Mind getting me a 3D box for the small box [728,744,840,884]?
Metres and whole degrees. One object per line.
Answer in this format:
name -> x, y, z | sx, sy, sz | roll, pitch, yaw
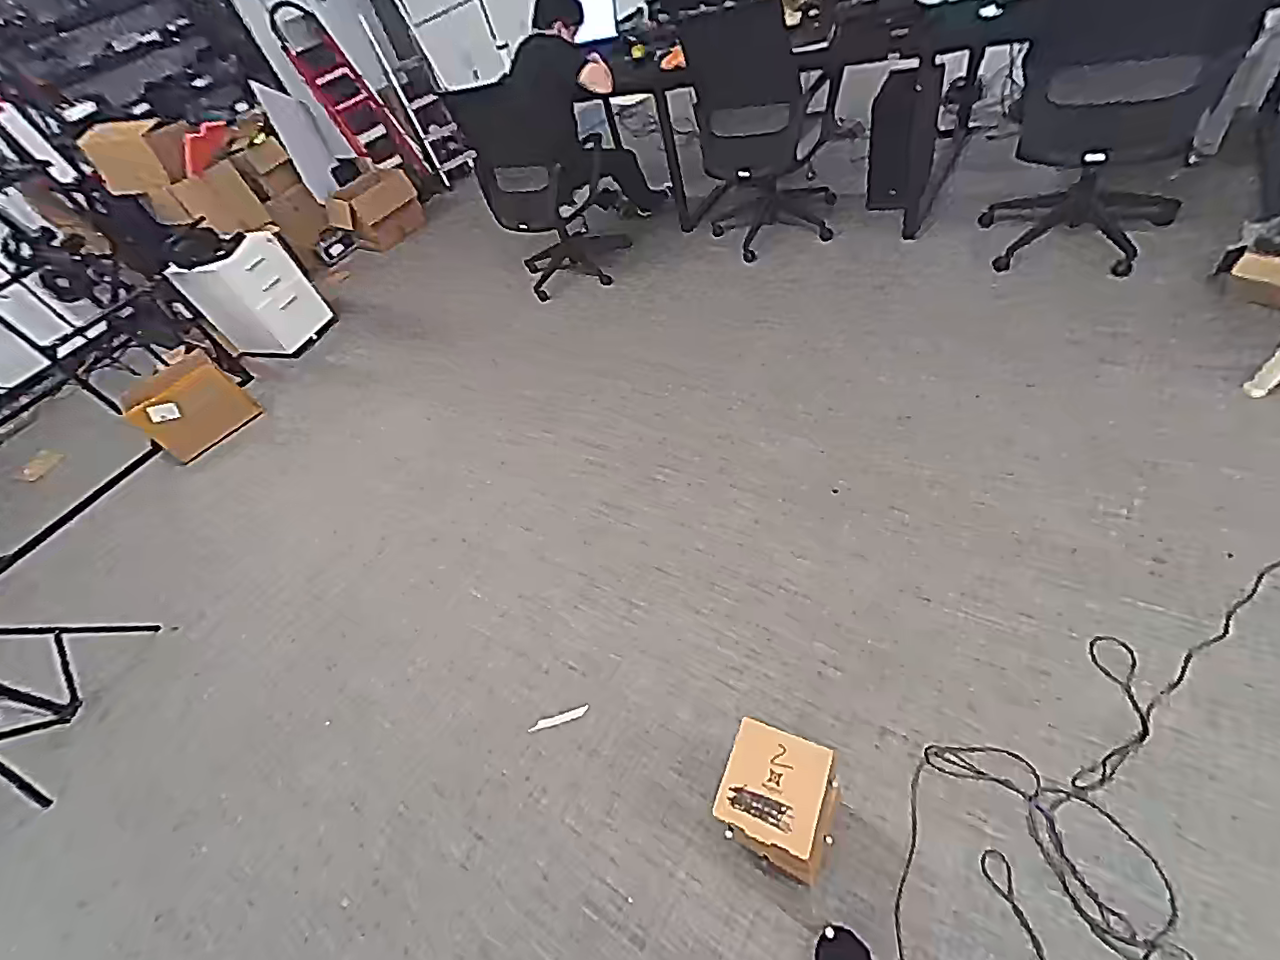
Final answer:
small box -> 0.299, 0.678, 1.094 | 0.168, 0.176, 0.179 | 16, 57, 31
